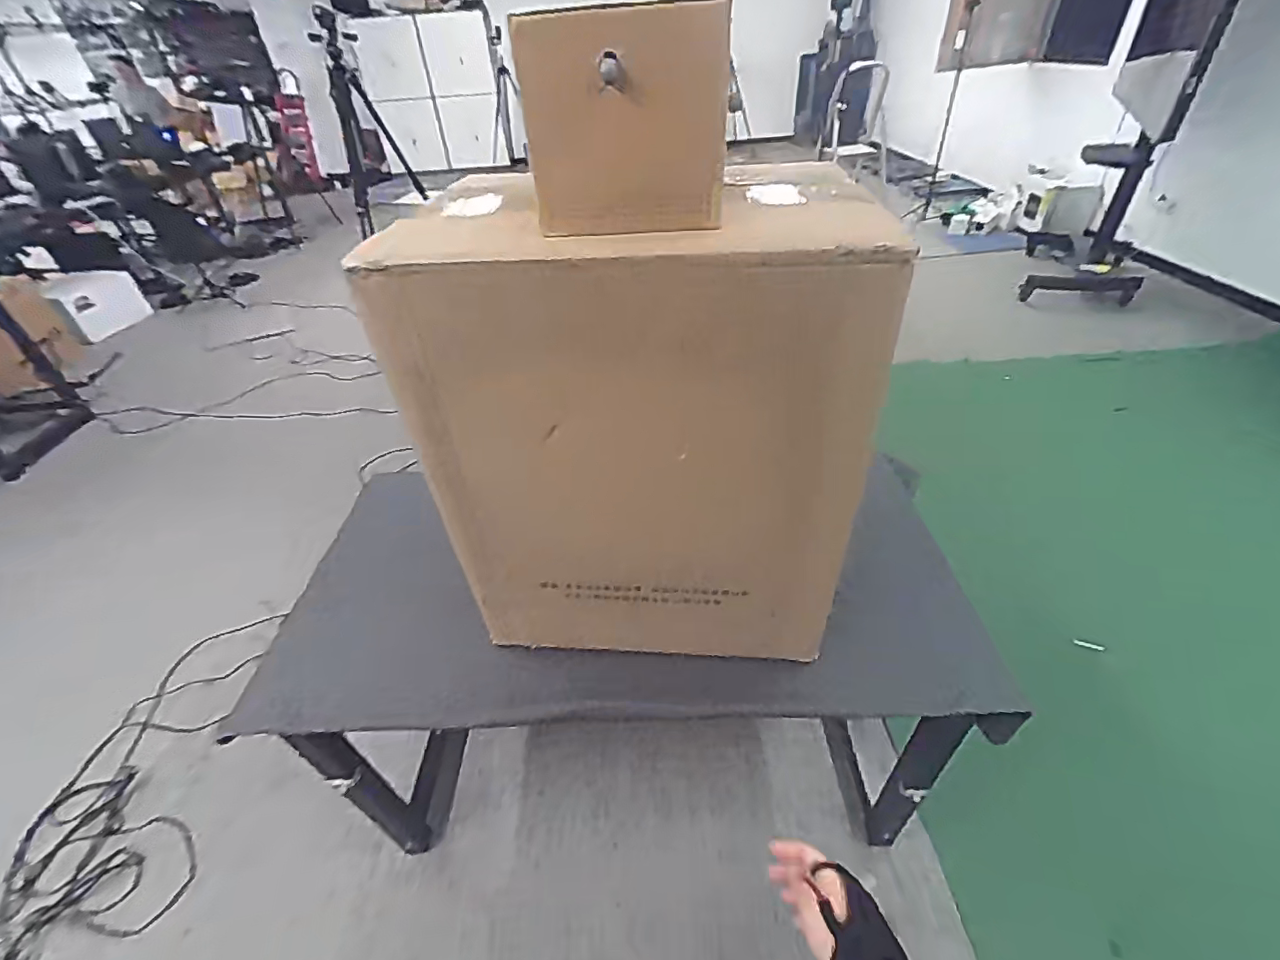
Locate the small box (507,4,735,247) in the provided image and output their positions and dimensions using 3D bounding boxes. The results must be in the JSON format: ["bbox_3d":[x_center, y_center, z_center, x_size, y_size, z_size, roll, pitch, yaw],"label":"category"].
[{"bbox_3d":[-0.007,-0.337,0.519,0.179,0.176,0.168,0,42,5],"label":"small box"}]
